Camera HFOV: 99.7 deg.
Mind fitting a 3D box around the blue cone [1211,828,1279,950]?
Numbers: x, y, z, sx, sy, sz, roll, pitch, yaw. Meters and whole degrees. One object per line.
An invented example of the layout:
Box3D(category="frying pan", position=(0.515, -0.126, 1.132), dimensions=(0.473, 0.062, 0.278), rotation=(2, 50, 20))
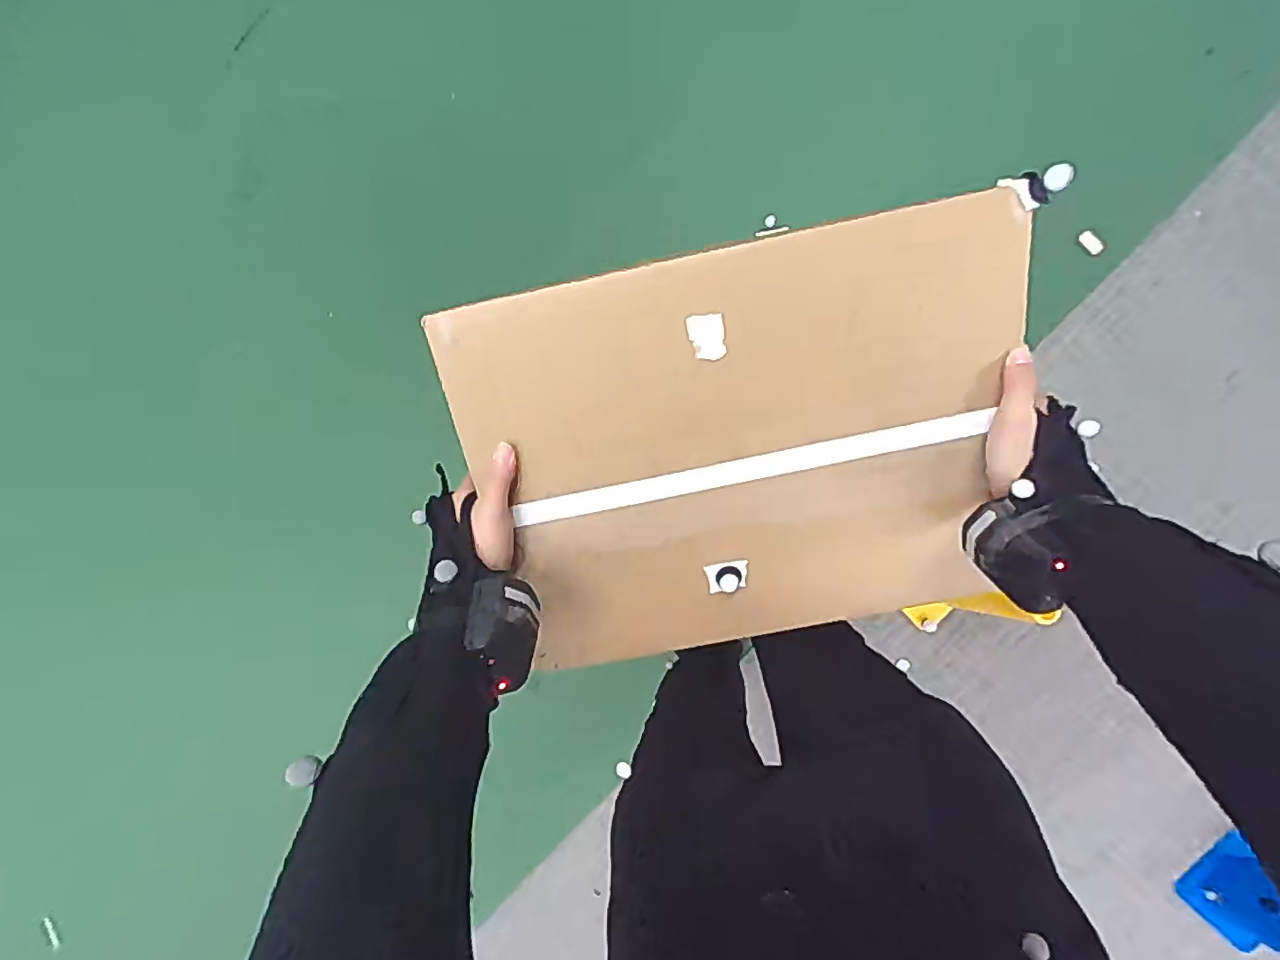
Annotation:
Box3D(category="blue cone", position=(1.219, 0.795, 0.884), dimensions=(0.193, 0.380, 0.192), rotation=(43, 92, 3))
